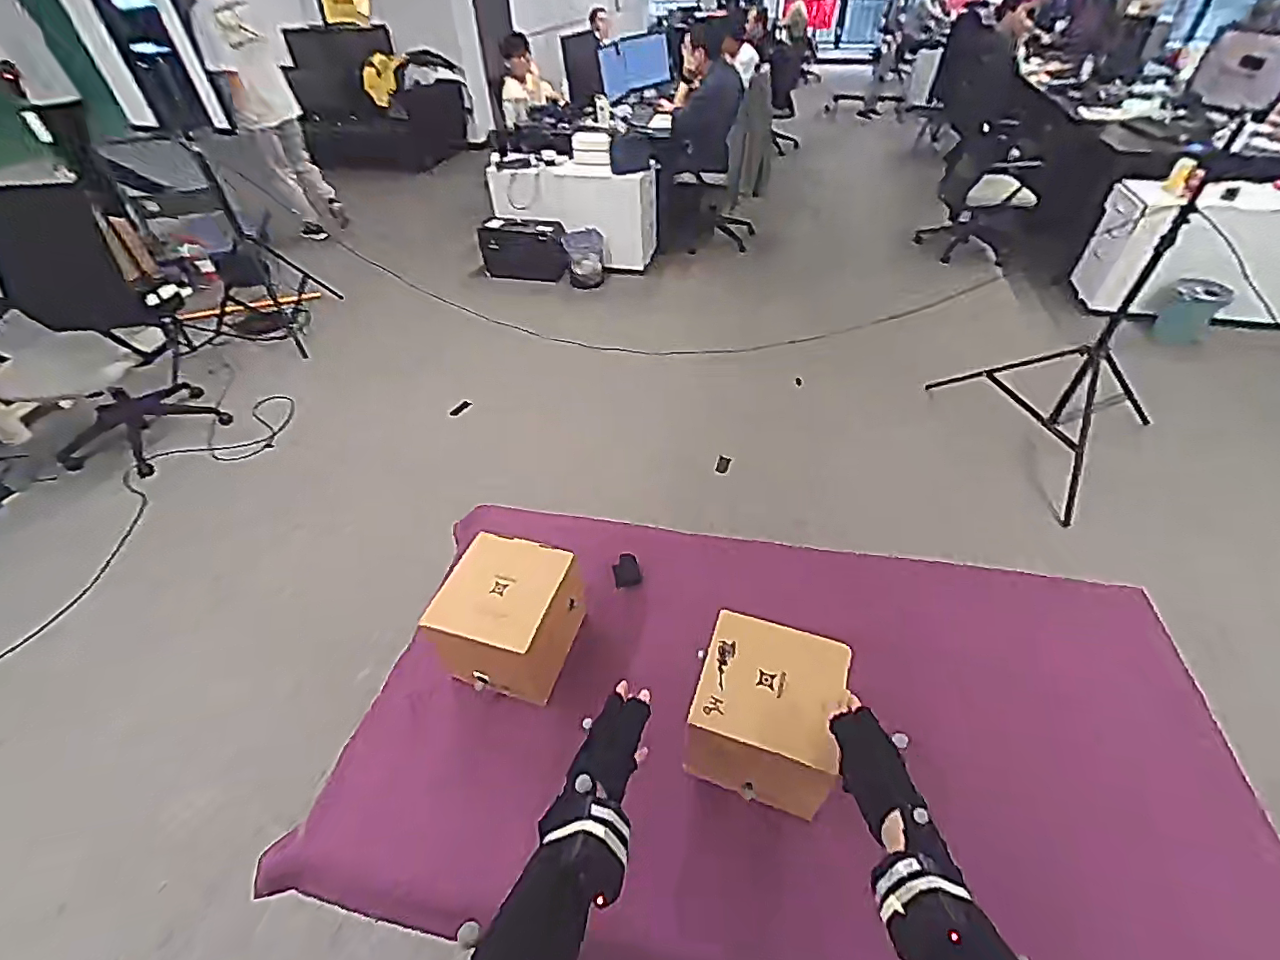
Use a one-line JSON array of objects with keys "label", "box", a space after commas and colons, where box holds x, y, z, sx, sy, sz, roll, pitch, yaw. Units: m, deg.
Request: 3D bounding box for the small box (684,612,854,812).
[{"label": "small box", "box": [0.166, 0.309, 0.716, 0.179, 0.176, 0.168, 14, 46, 16]}]

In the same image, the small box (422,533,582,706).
[{"label": "small box", "box": [-0.196, 0.214, 0.832, 0.168, 0.176, 0.179, 10, 46, 14]}]
